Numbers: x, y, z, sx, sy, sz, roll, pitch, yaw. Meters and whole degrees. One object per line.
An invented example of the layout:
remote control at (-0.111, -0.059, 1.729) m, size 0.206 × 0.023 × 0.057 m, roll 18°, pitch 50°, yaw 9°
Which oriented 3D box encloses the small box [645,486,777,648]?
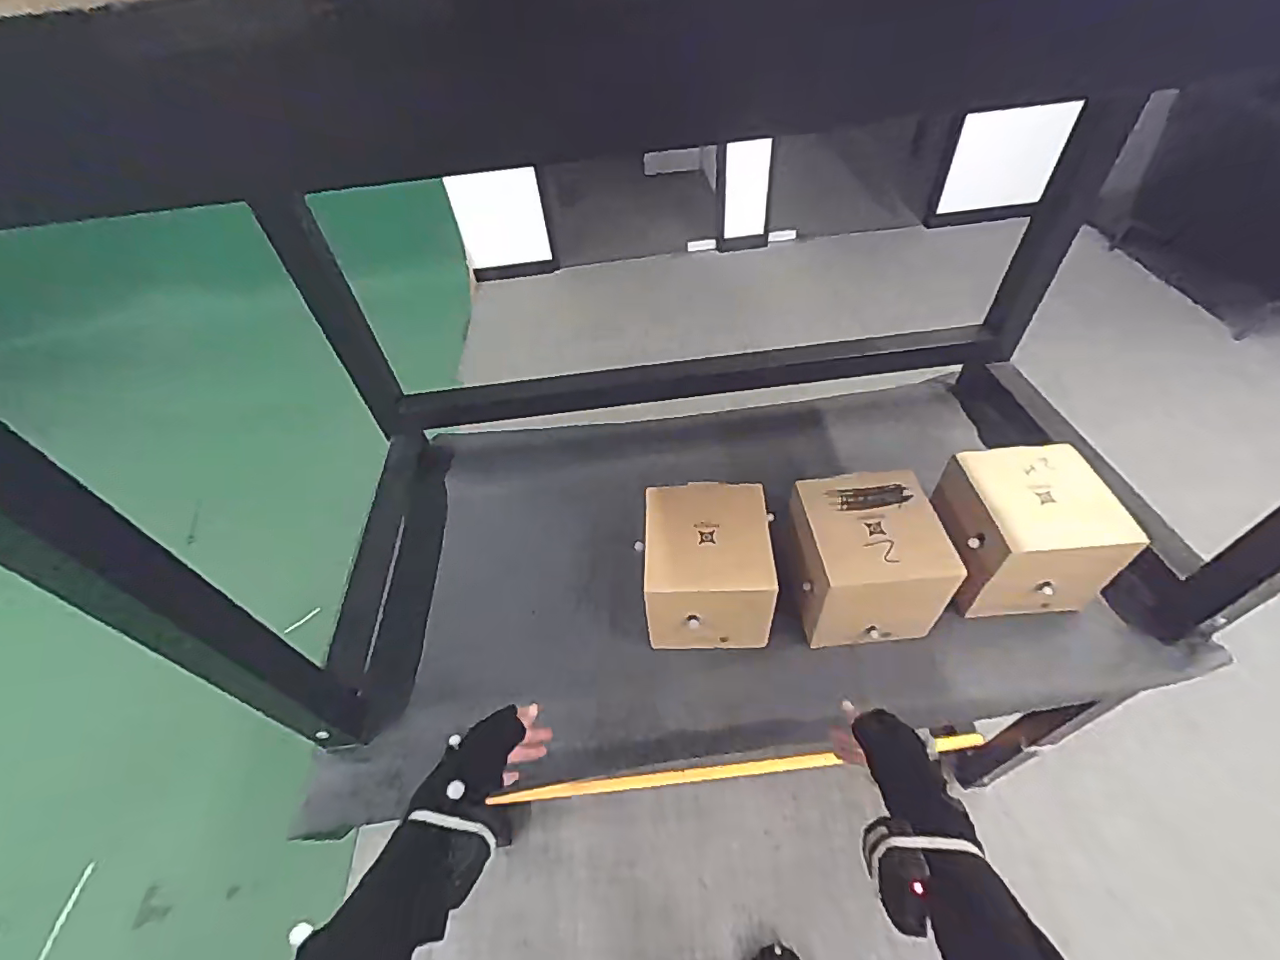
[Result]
small box at (0.097, 0.130, 0.777) m, size 0.168 × 0.176 × 0.179 m, roll -2°, pitch 47°, yaw 4°

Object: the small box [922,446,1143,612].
small box at (0.535, 0.076, 0.772) m, size 0.168 × 0.176 × 0.179 m, roll -4°, pitch 47°, yaw 2°
